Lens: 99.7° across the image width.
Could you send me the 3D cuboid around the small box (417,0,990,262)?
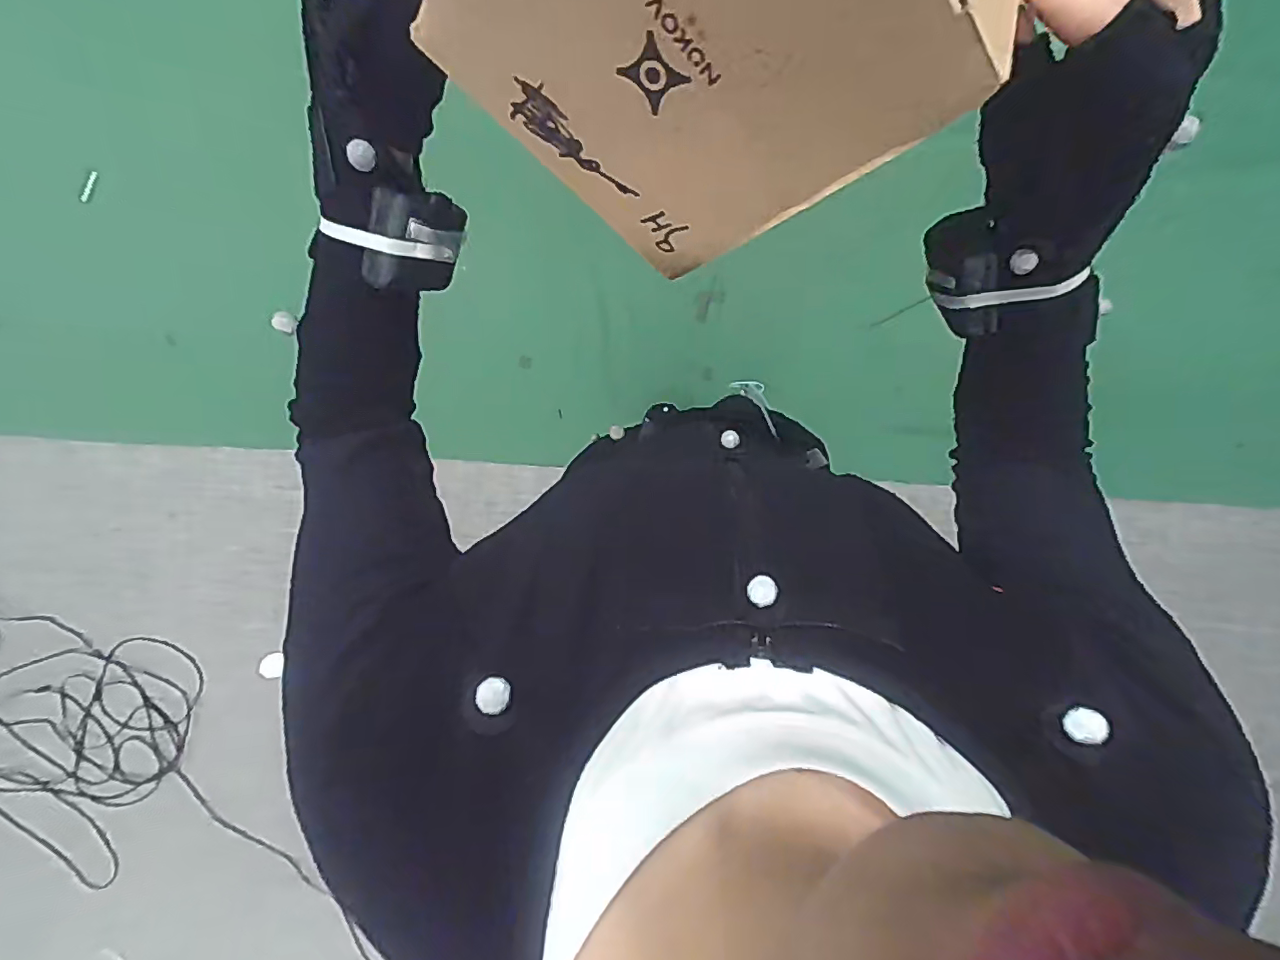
[{"bbox_3d":[0.036,-0.246,0.244,0.168,0.179,0.176,34,66,-31],"label":"small box"}]
